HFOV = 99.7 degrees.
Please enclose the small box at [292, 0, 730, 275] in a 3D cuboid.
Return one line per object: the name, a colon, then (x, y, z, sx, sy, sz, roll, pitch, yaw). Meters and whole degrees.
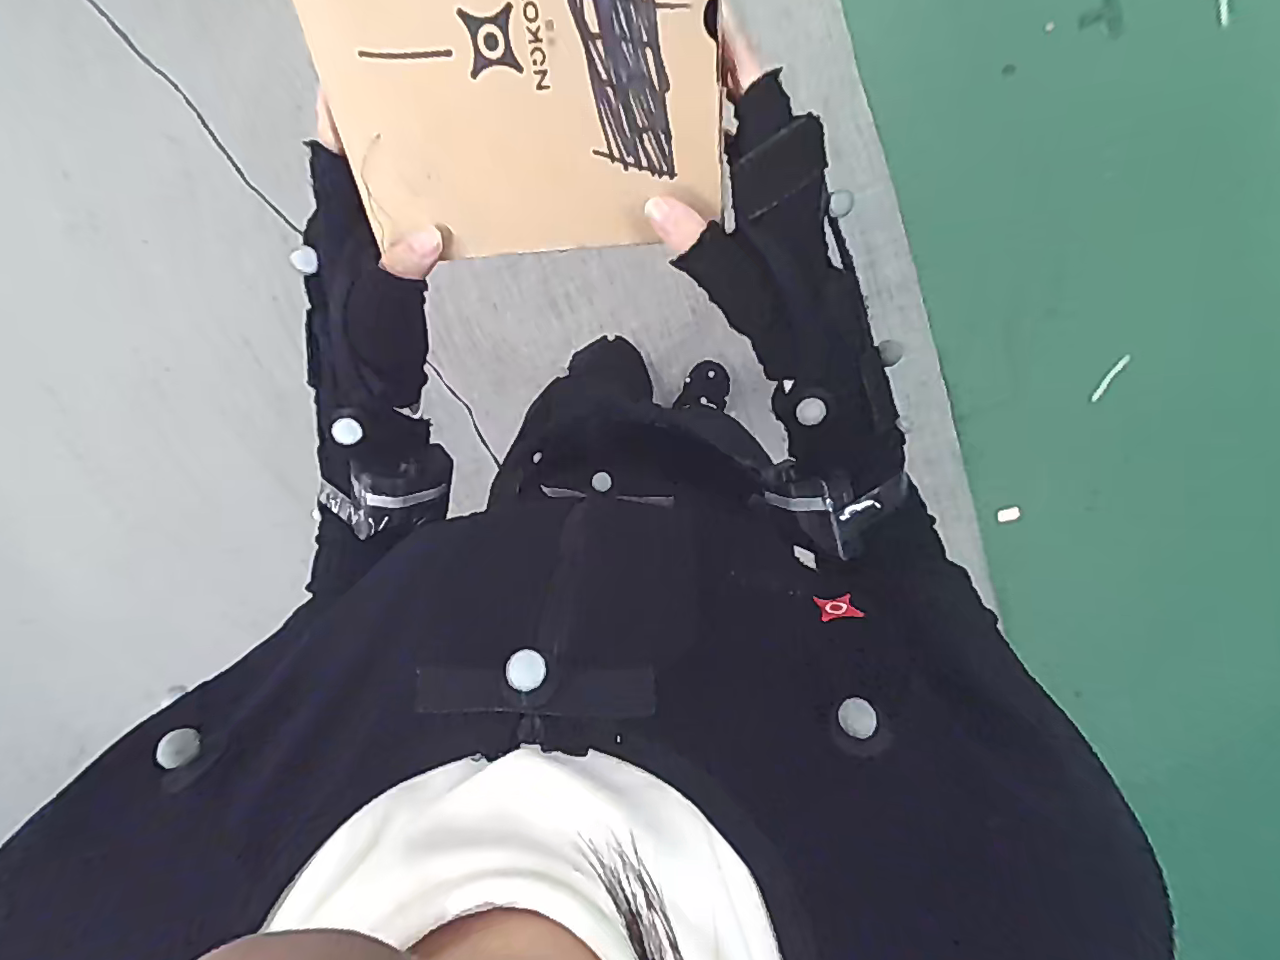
small box: (-0.051, -0.228, 0.293, 0.179, 0.176, 0.168, -6, 126, 7)
